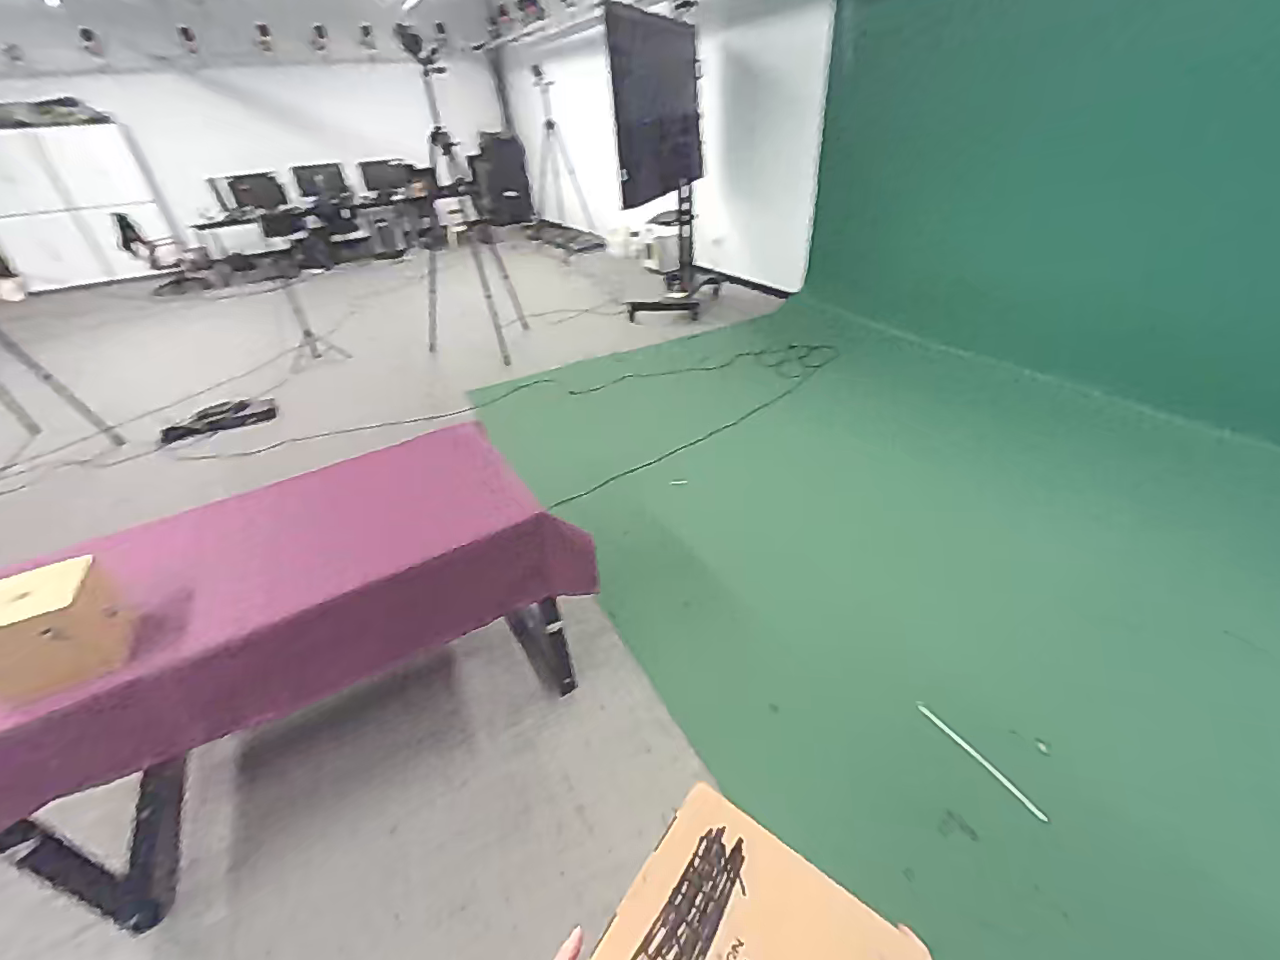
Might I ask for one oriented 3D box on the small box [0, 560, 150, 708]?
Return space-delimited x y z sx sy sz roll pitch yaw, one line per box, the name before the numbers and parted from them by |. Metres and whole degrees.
small box | -1.084 0.287 1.020 0.179 0.176 0.168 -21 36 -21
